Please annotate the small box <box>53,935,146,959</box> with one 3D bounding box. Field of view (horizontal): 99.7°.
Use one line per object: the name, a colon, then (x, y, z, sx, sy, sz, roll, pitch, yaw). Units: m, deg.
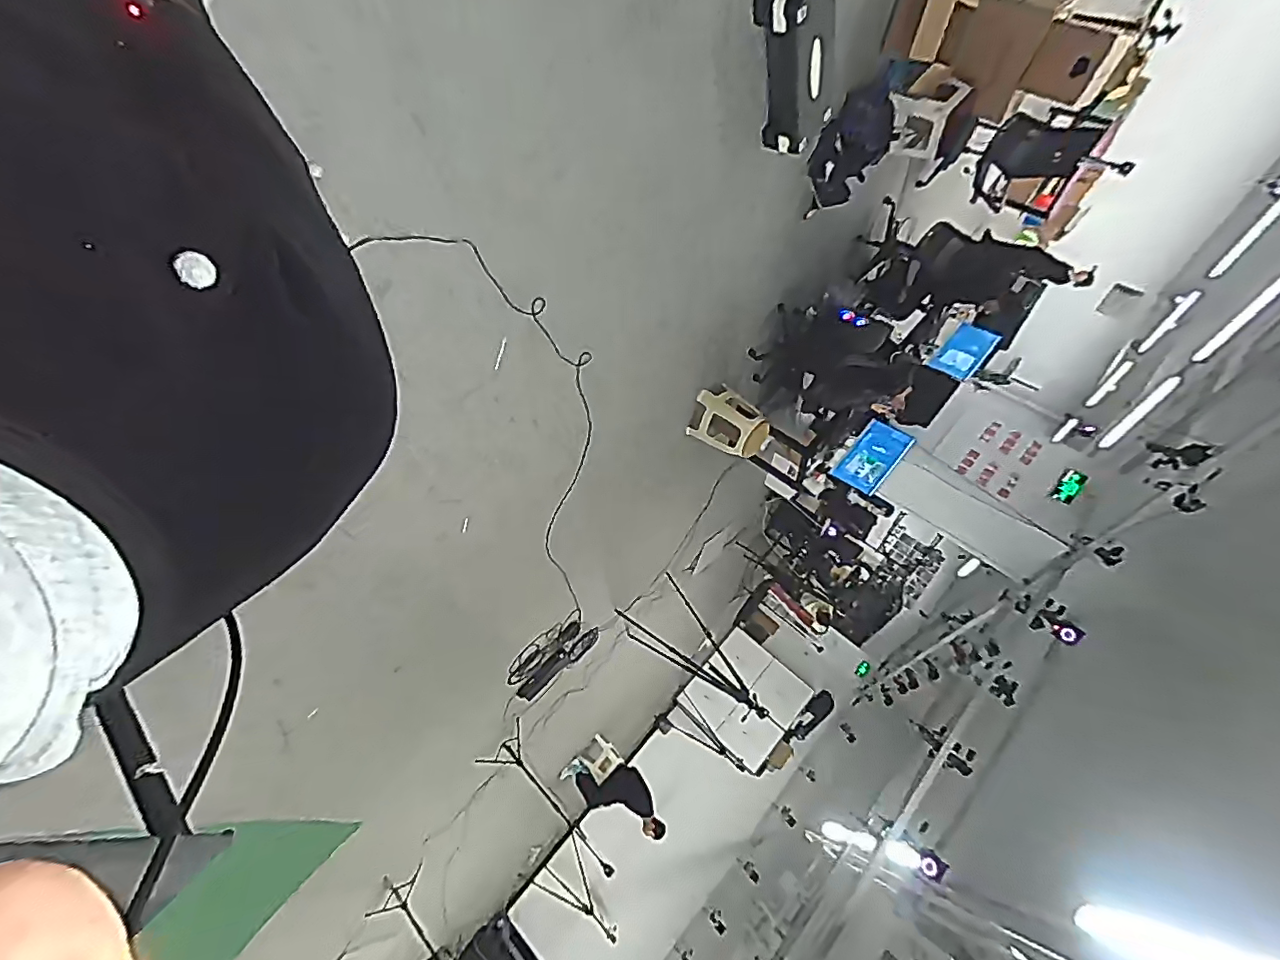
small box: (-1.222, 1.141, 1.174, 0.179, 0.176, 0.168, -46, 154, -16)
